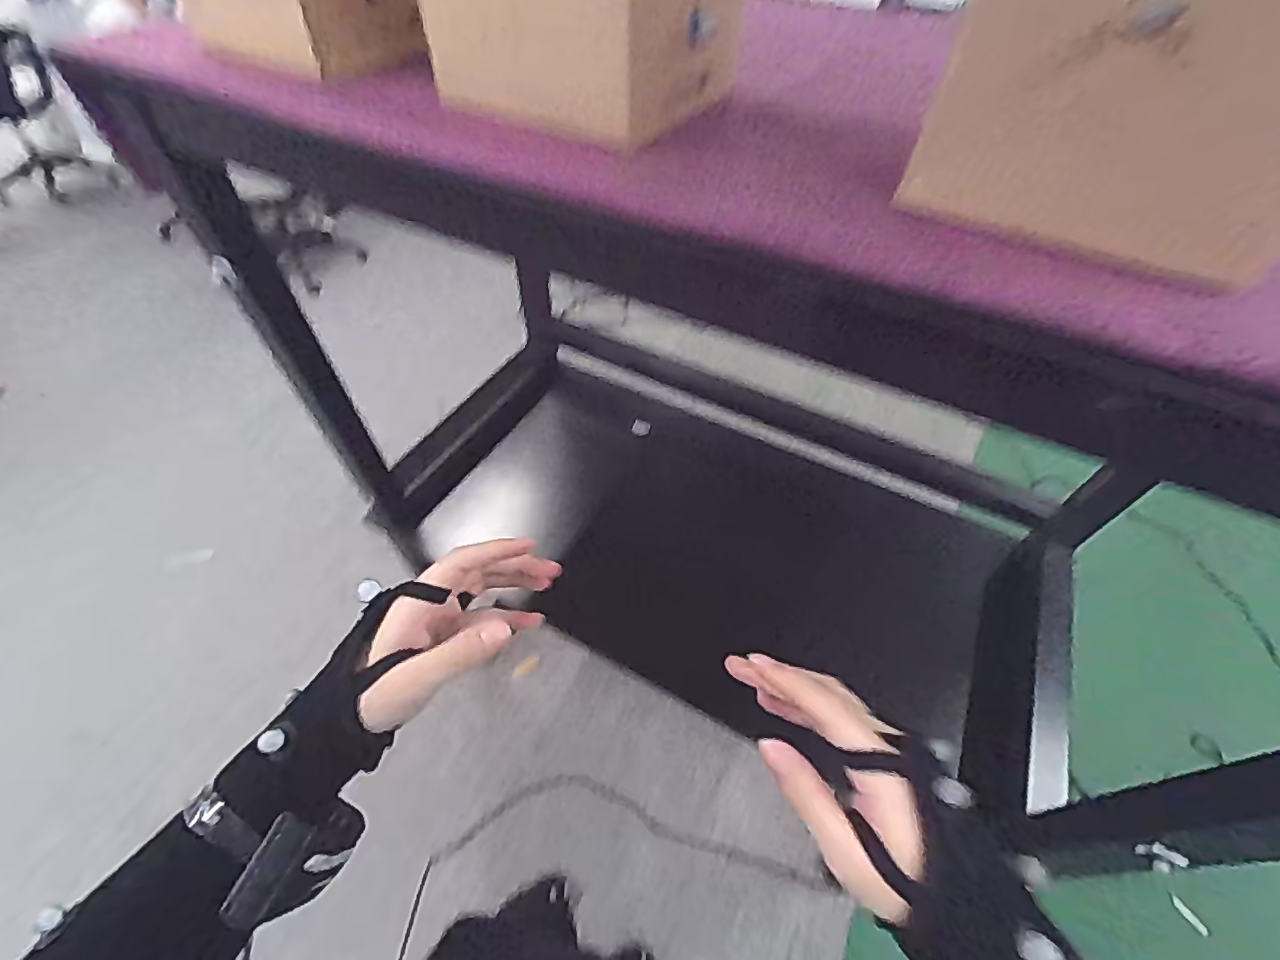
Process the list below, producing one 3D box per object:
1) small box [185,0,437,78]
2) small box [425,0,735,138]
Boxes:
[{"bbox_3d":[-0.290,-0.466,0.456,0.179,0.176,0.168,25,55,18],"label":"small box"},{"bbox_3d":[-0.041,-0.362,0.373,0.179,0.176,0.168,26,56,19],"label":"small box"}]
